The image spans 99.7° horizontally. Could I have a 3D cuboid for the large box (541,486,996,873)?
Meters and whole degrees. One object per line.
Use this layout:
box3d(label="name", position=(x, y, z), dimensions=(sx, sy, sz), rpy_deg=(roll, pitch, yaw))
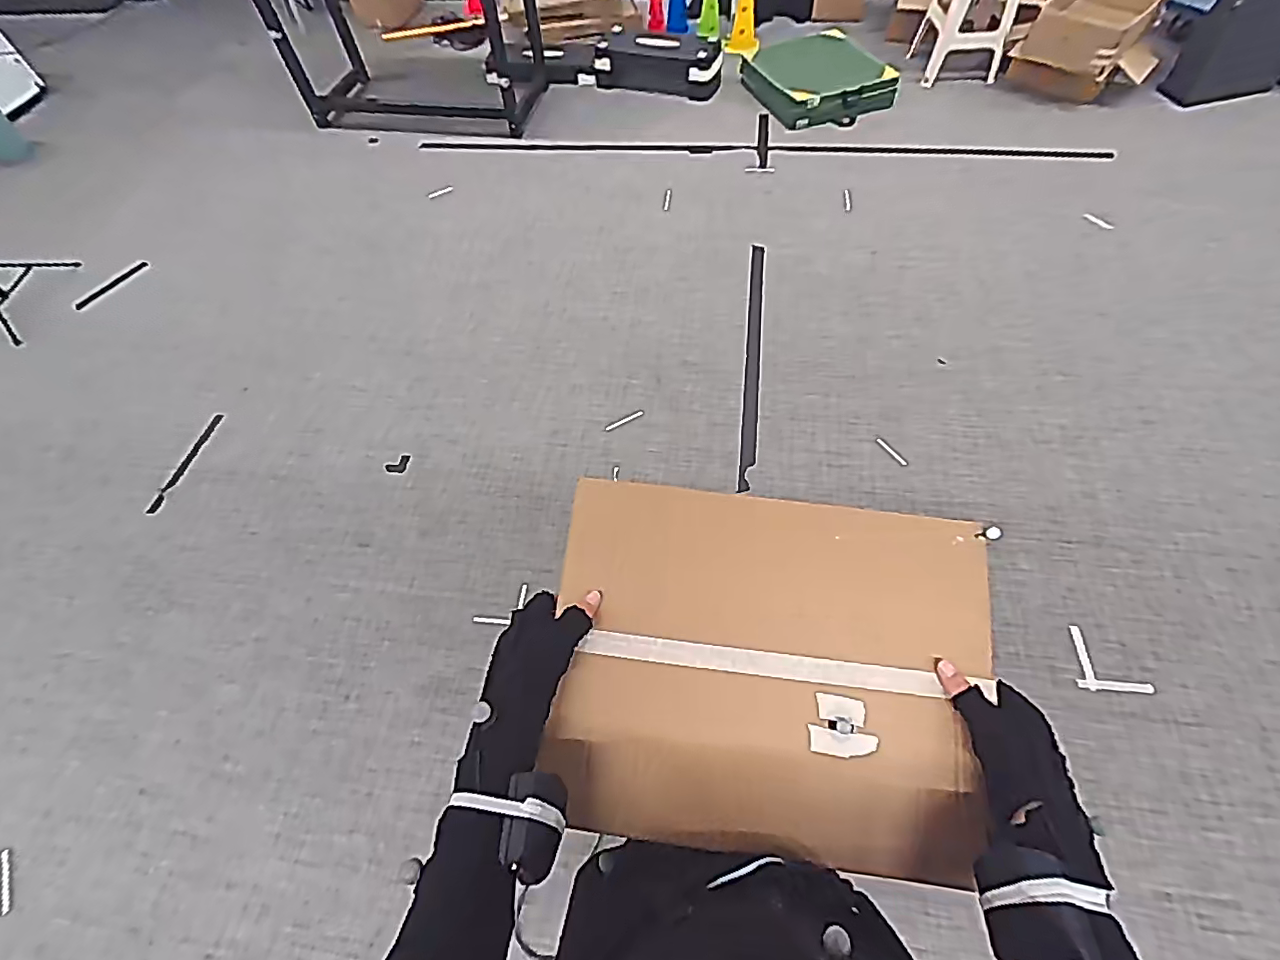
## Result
box3d(label="large box", position=(0.127, 0.214, 0.655), dimensions=(0.408, 0.320, 0.320), rpy_deg=(7, 74, 4))
